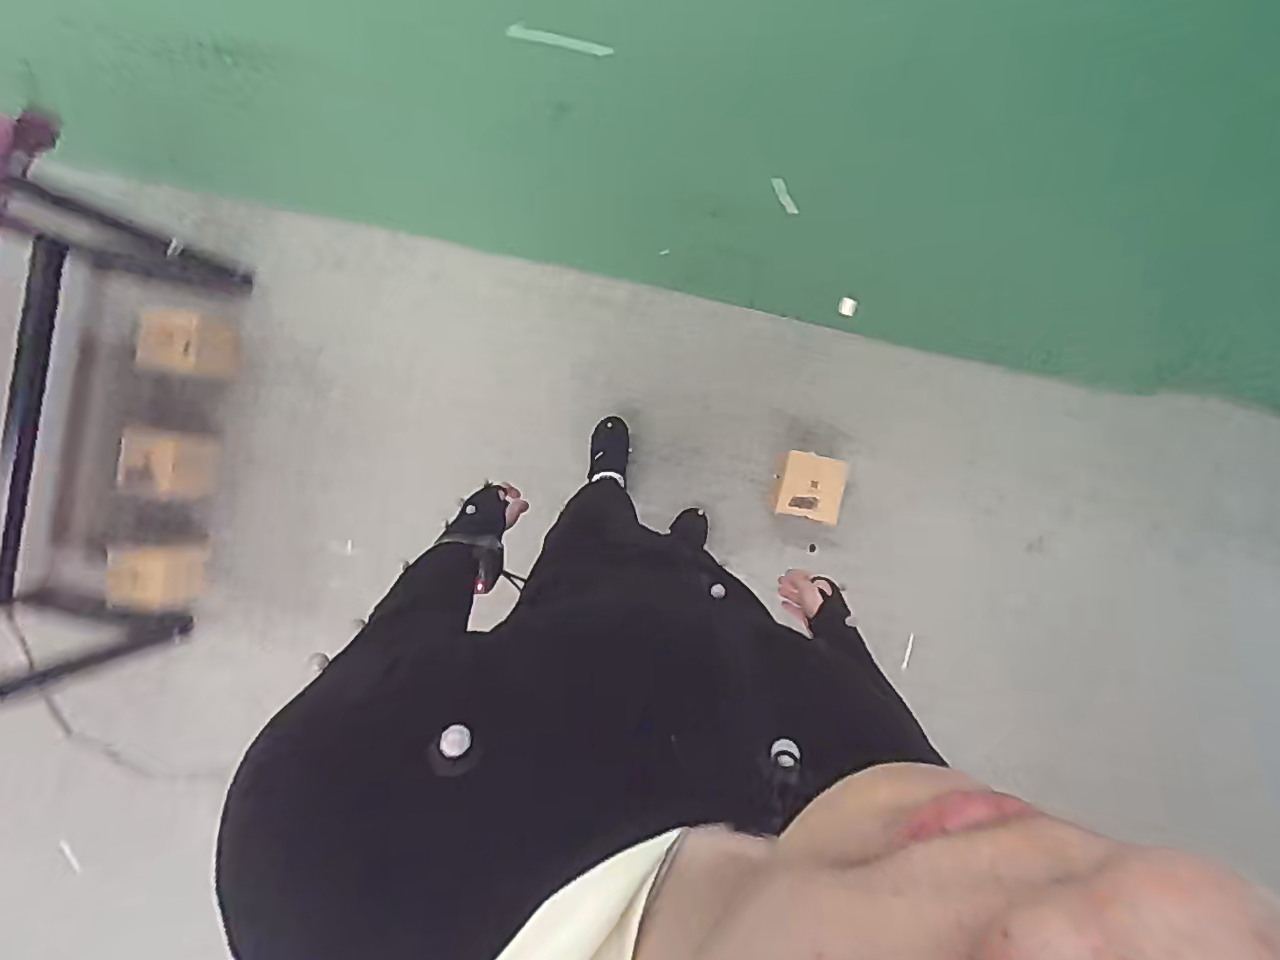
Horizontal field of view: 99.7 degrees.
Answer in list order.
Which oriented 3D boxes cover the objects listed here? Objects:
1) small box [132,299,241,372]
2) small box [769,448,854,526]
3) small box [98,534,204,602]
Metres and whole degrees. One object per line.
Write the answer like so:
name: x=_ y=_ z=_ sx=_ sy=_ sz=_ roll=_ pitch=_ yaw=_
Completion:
small box: x=-1.334 y=-0.421 z=1.597 sx=0.179 sy=0.176 sz=0.168 roll=7 pitch=92 yaw=3
small box: x=0.470 y=0.018 z=1.511 sx=0.168 sy=0.176 sz=0.179 roll=14 pitch=91 yaw=2
small box: x=-1.460 y=0.259 z=1.624 sx=0.179 sy=0.176 sz=0.168 roll=5 pitch=92 yaw=3
